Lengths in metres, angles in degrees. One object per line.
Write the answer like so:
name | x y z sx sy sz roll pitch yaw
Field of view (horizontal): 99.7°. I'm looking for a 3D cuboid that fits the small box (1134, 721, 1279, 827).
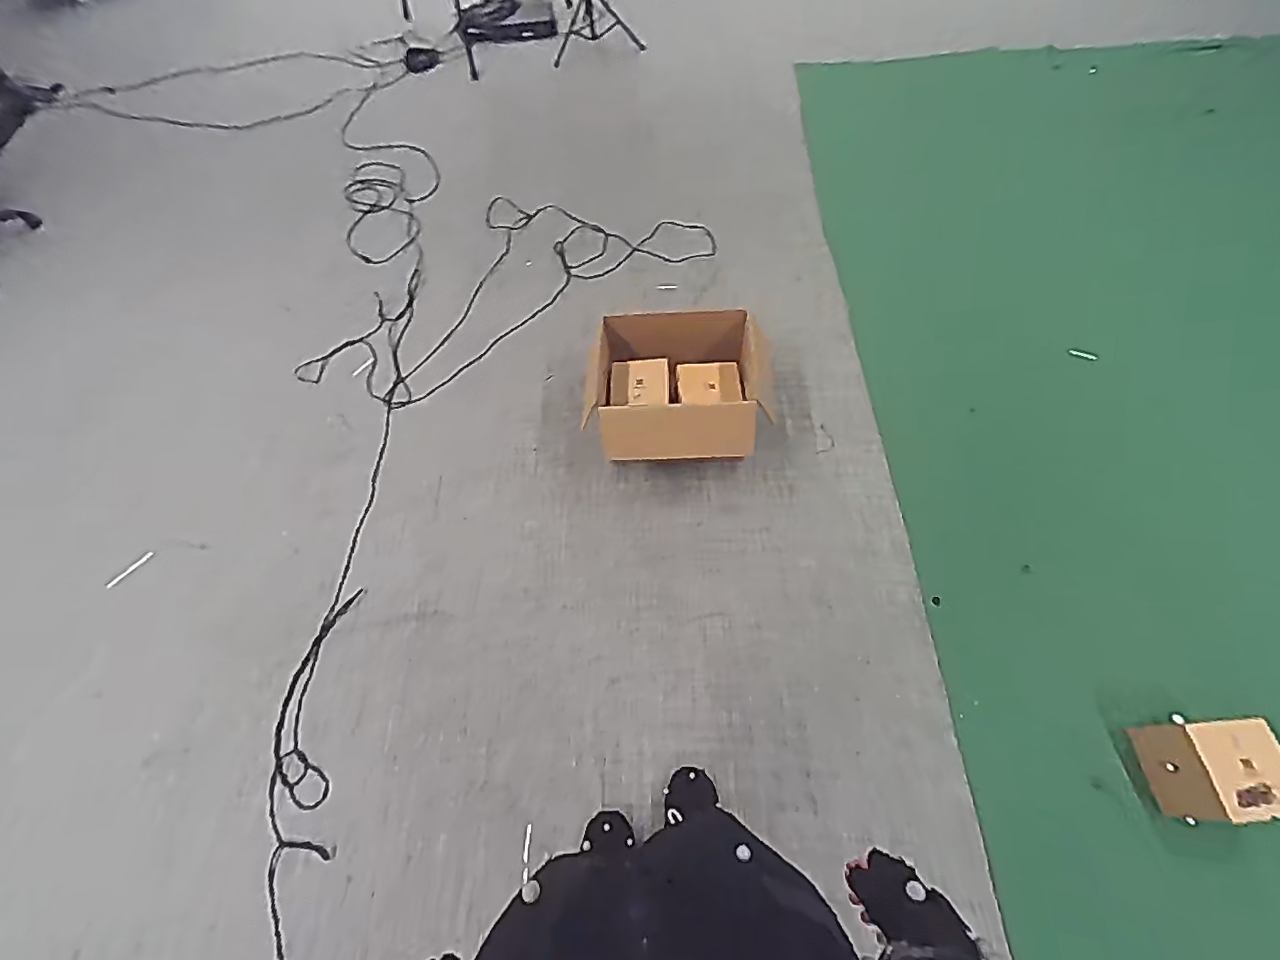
small box | 1.200 0.604 1.121 0.168 0.176 0.179 -5 62 1
